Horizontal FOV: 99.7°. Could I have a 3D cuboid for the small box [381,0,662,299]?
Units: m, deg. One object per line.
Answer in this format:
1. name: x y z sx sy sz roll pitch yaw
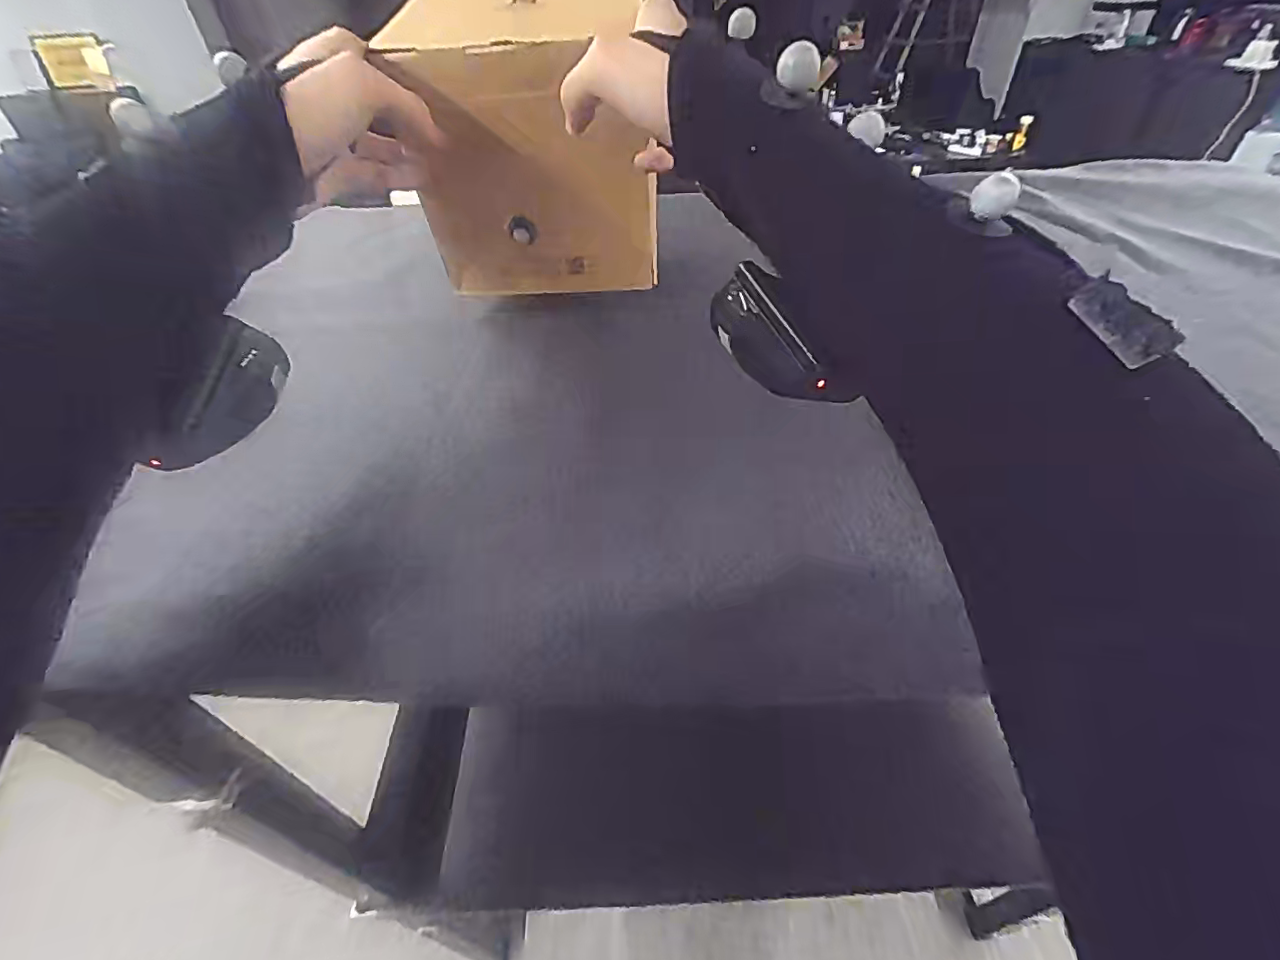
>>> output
1. small box: -0.068 -0.265 0.427 0.168 0.176 0.179 -1 54 3
